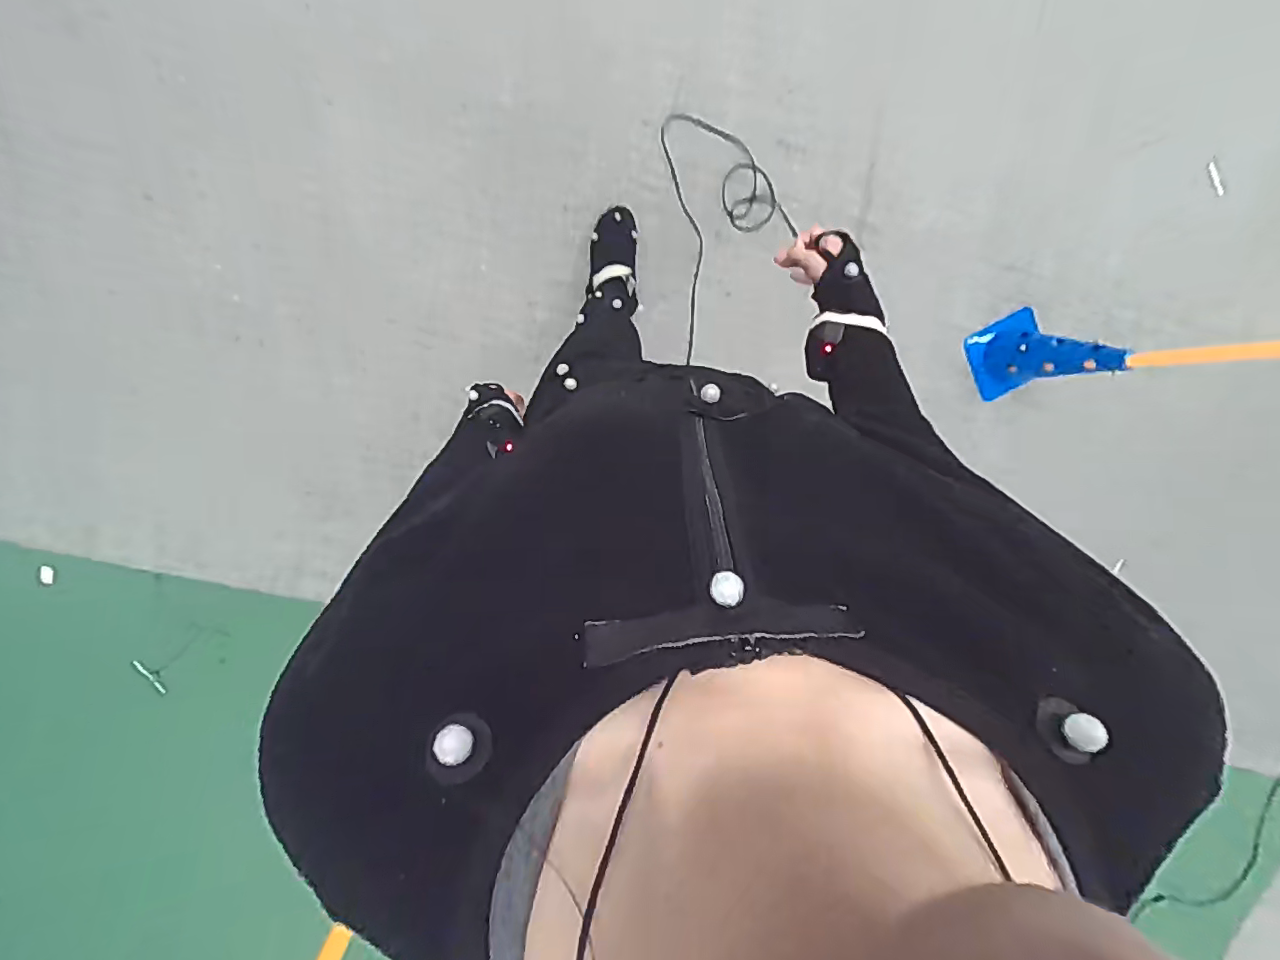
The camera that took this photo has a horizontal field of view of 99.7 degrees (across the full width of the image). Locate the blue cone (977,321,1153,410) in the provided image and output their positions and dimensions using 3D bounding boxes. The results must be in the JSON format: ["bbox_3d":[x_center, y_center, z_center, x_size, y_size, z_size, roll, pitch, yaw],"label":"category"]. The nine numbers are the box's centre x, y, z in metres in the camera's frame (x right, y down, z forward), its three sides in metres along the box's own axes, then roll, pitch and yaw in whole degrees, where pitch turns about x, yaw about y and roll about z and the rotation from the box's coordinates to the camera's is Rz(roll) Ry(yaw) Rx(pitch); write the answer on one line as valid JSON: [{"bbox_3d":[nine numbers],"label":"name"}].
[{"bbox_3d":[1.017,-0.267,1.283,0.193,0.380,0.192,-30,105,3],"label":"blue cone"}]
